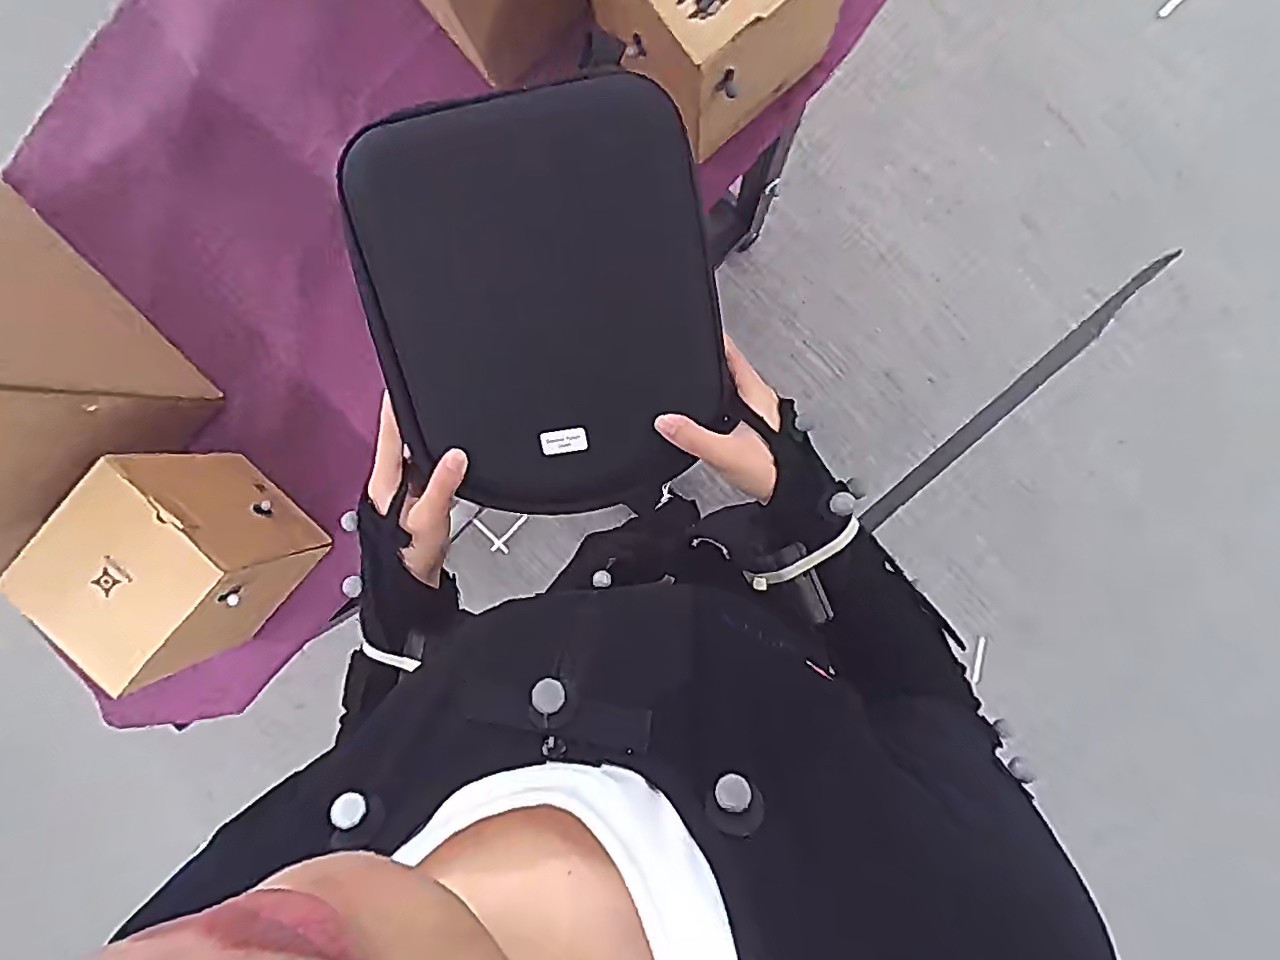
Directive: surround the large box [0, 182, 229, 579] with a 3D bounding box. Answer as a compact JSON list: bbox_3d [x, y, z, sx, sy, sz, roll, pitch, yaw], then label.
[{"bbox_3d":[-0.764,-0.125,0.540,0.408,0.320,0.320,44,96,-3],"label":"large box"}]
